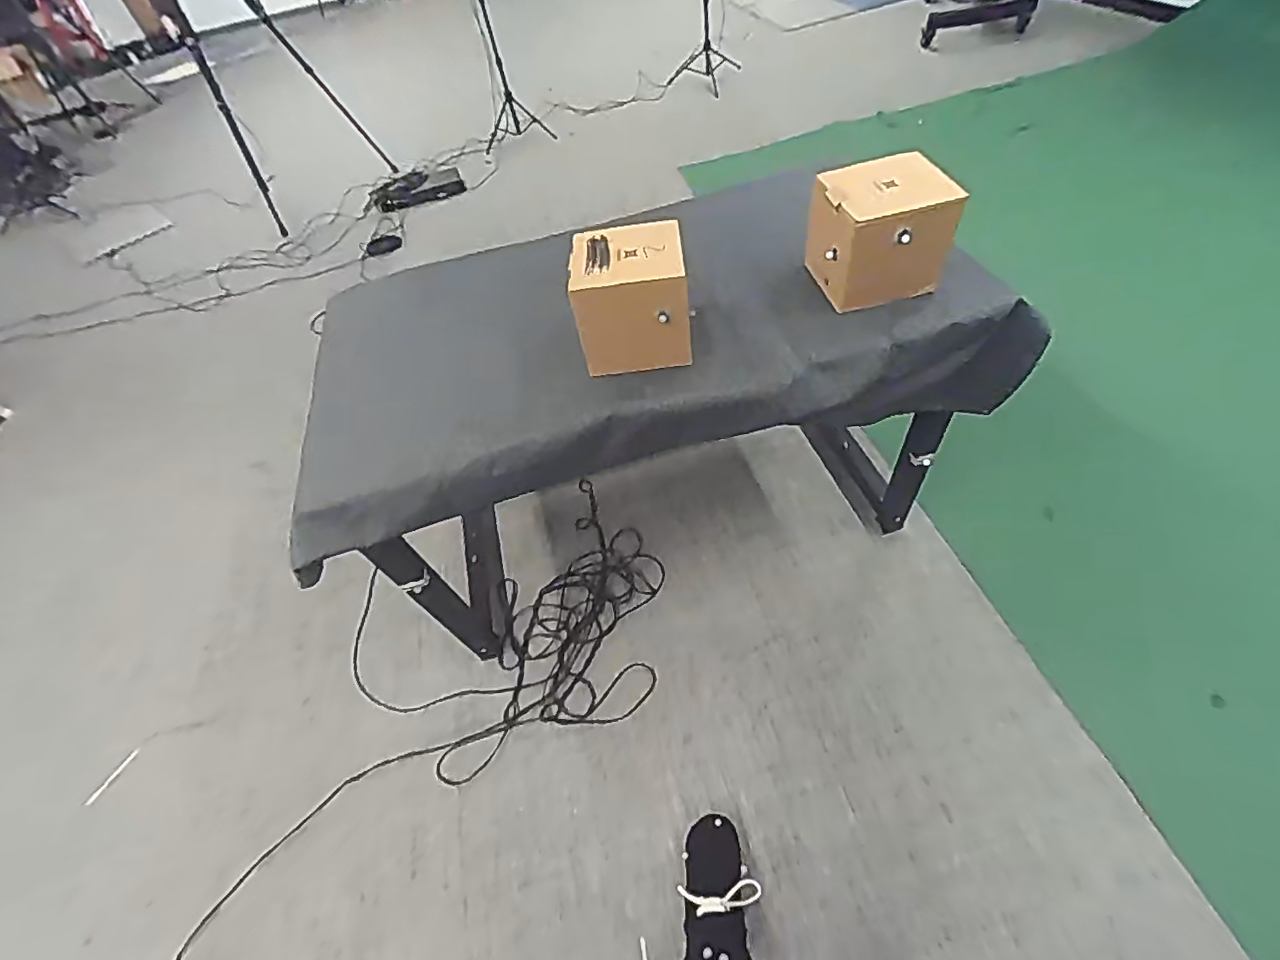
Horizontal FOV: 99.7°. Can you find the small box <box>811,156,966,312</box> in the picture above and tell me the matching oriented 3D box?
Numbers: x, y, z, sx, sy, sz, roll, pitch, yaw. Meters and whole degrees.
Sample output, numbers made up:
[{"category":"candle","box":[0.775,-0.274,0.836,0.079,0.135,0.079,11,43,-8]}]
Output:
[{"category":"small box","box":[0.399,-0.408,0.912,0.179,0.176,0.168,-12,53,0]}]
